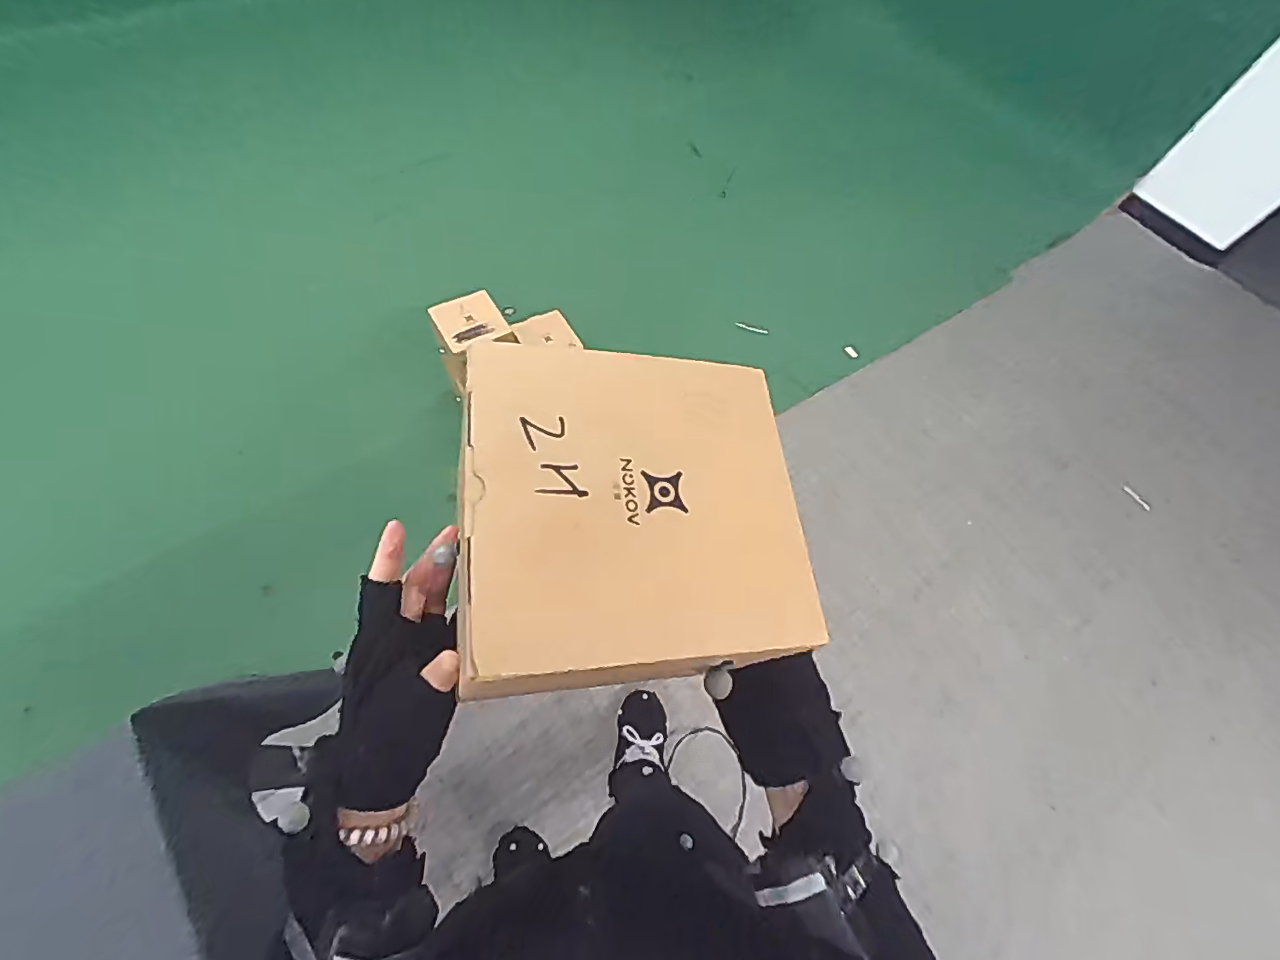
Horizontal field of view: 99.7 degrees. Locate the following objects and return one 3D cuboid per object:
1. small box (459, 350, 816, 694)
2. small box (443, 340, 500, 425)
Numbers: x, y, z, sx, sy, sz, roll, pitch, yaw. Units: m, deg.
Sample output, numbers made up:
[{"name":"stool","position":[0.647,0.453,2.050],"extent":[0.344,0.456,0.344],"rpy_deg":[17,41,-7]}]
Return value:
[{"name":"small box","position":[-0.022,0.040,0.352],"extent":[0.179,0.176,0.168],"rpy_deg":[1,65,-19]},{"name":"small box","position":[-0.475,-0.287,1.647],"extent":[0.168,0.176,0.179],"rpy_deg":[-25,68,-18]}]
